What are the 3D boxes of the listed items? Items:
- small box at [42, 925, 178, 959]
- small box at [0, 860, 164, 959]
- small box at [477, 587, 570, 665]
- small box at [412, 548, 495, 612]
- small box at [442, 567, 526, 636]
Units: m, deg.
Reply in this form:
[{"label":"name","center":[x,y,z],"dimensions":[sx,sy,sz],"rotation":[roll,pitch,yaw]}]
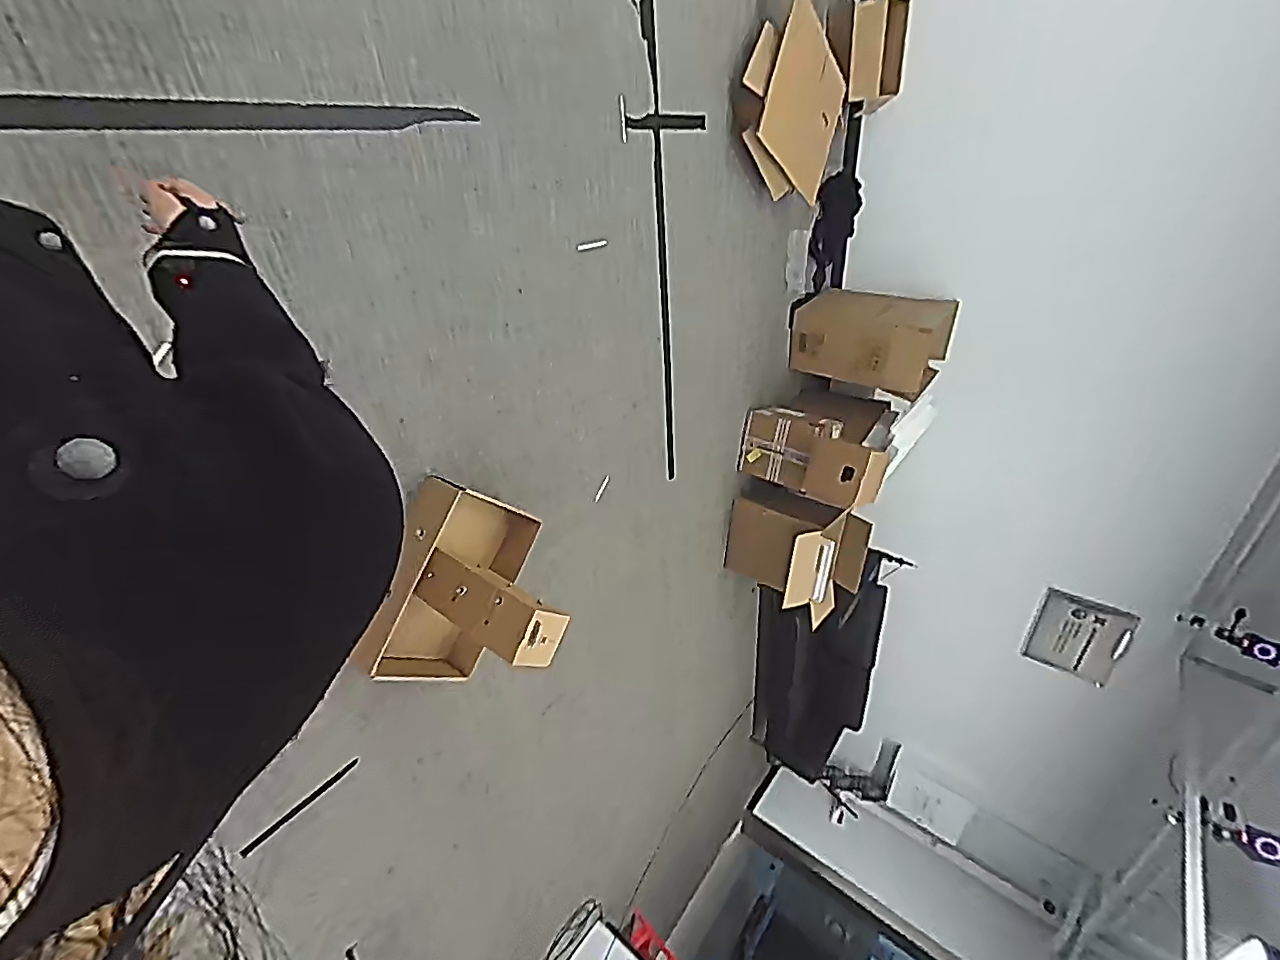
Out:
[{"label":"small box","center":[-0.906,0.883,0.890],"dimensions":[0.168,0.176,0.179],"rotation":[41,72,-53]},{"label":"small box","center":[-1.031,0.829,0.982],"dimensions":[0.168,0.176,0.179],"rotation":[40,73,-54]},{"label":"small box","center":[-0.349,0.433,1.609],"dimensions":[0.179,0.176,0.168],"rotation":[35,77,-56]},{"label":"small box","center":[-0.607,0.340,1.785],"dimensions":[0.179,0.176,0.168],"rotation":[38,74,-55]},{"label":"small box","center":[-0.481,0.387,1.696],"dimensions":[0.179,0.176,0.168],"rotation":[36,76,-54]}]
